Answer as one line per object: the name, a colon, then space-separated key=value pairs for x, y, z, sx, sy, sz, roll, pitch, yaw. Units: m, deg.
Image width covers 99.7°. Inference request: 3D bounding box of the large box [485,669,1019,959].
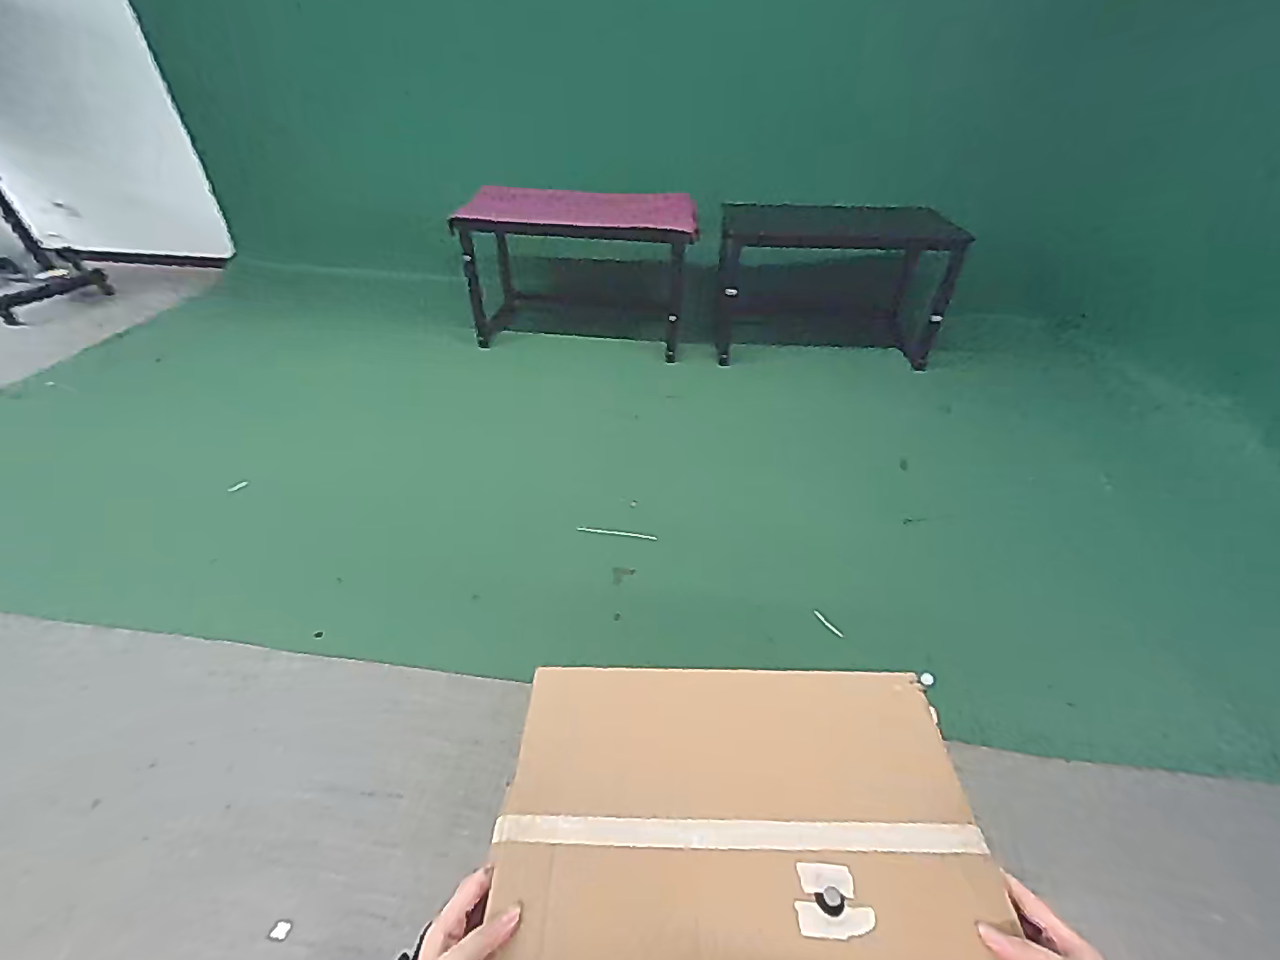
large box: x=0.083 y=0.418 z=0.559 sx=0.408 sy=0.320 sz=0.320 roll=0 pitch=39 yaw=1
